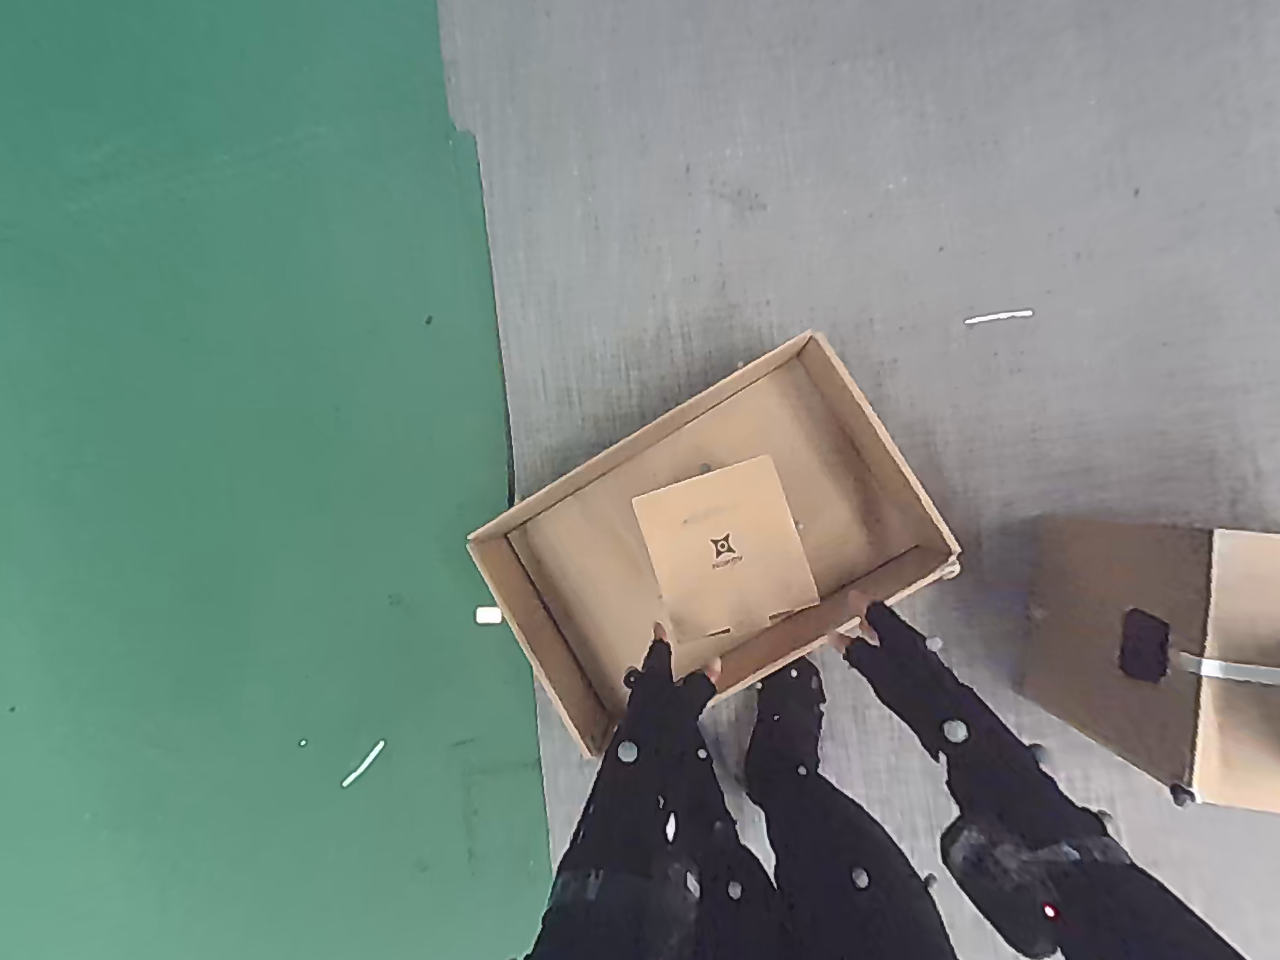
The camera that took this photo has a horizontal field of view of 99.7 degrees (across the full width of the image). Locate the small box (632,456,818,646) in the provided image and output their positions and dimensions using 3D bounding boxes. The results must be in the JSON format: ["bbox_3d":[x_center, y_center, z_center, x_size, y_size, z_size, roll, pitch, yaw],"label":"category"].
[{"bbox_3d":[0.103,0.082,0.678,0.168,0.176,0.179,-19,85,5],"label":"small box"}]
